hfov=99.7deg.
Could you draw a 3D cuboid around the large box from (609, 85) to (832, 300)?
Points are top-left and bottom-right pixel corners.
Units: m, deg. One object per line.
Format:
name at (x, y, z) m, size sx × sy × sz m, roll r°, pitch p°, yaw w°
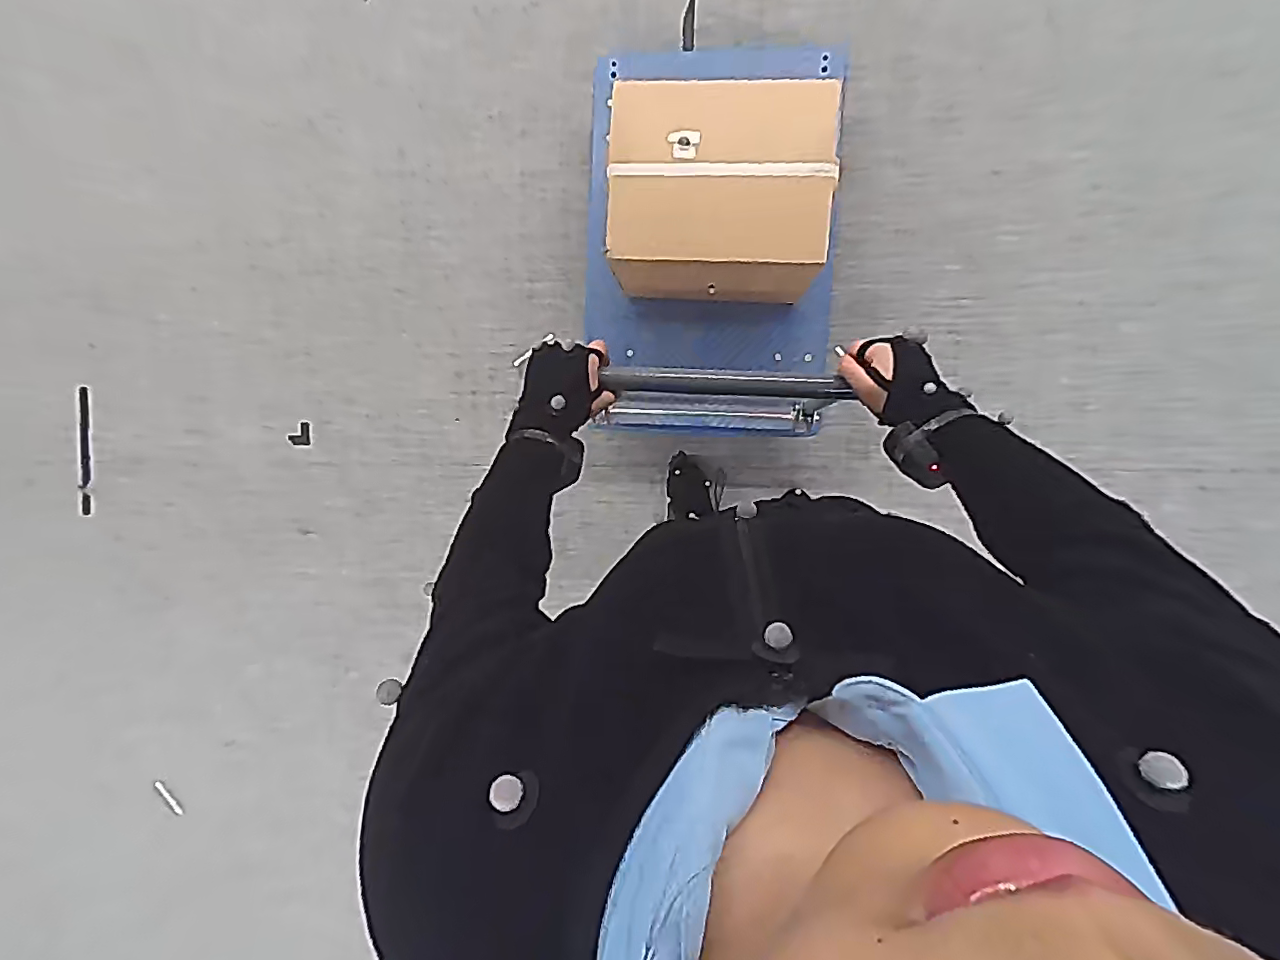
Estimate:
large box at (0.162, -0.571, 1.143) m, size 0.408 × 0.320 × 0.320 m, roll 3°, pitch 94°, yaw 7°
